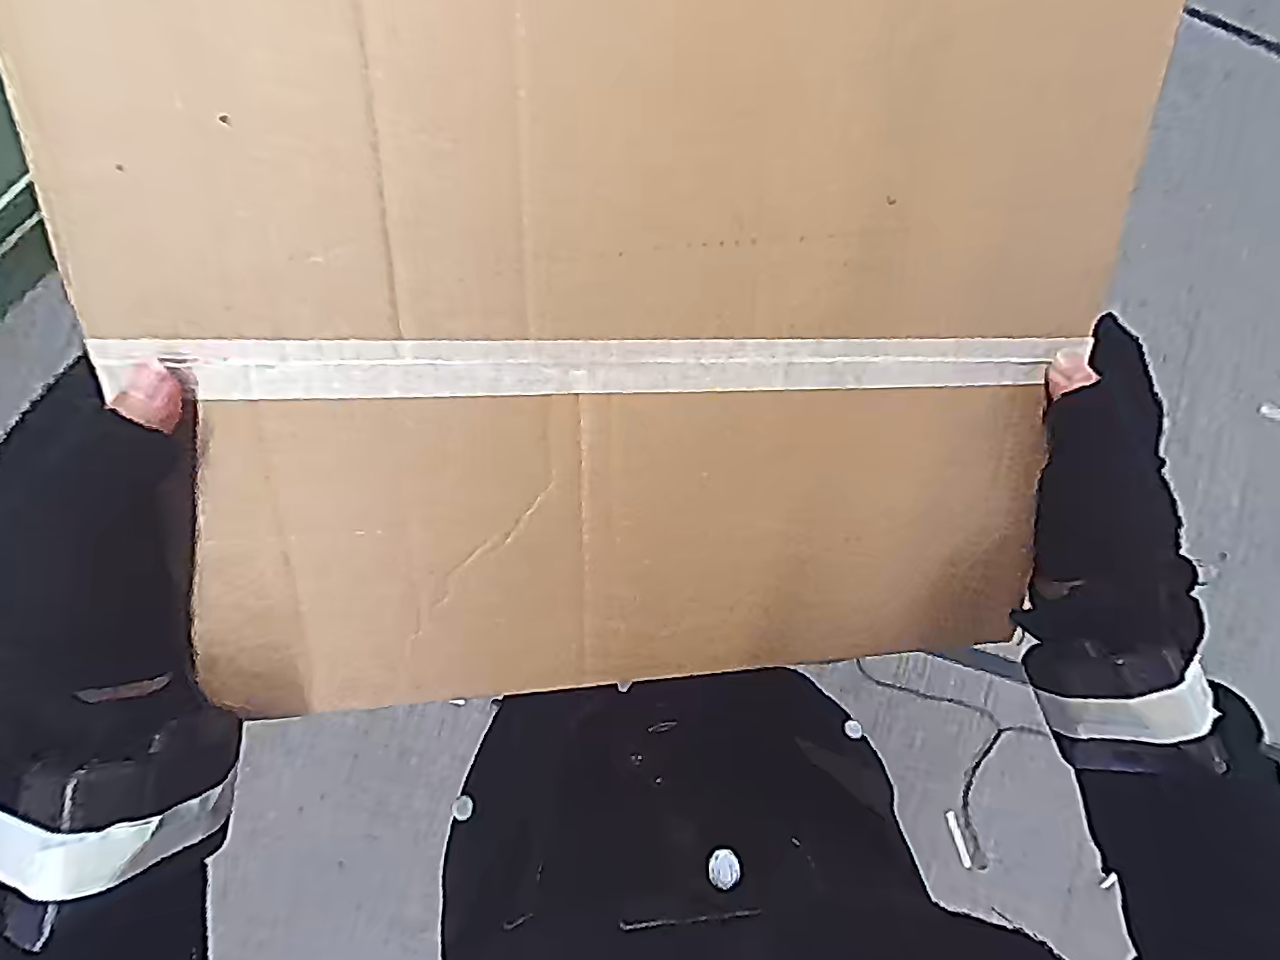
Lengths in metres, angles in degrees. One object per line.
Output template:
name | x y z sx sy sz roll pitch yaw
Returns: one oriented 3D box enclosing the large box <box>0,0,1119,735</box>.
large box | -0.025 -0.088 0.373 0.408 0.320 0.320 -4 109 -10
